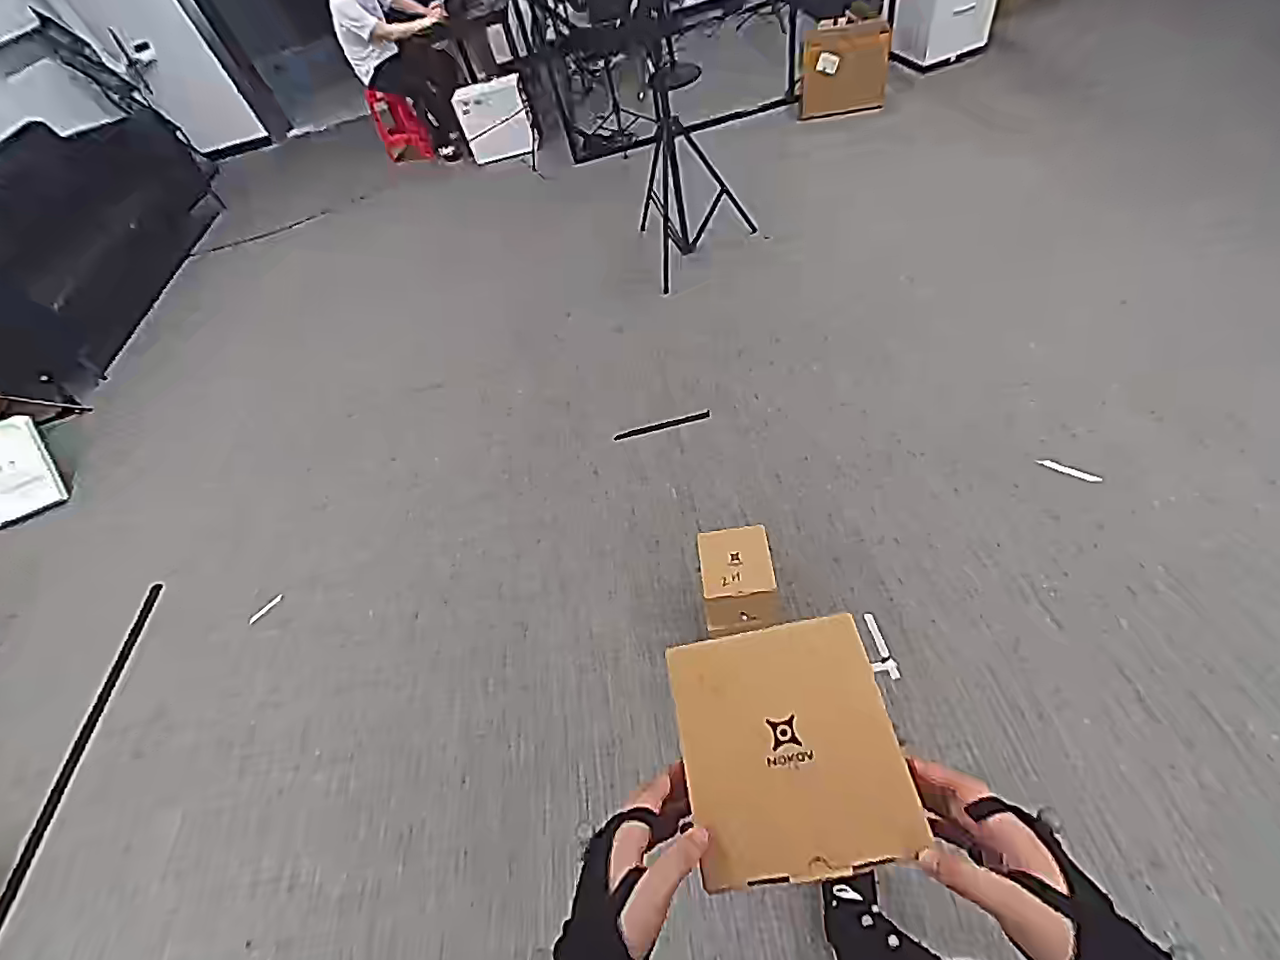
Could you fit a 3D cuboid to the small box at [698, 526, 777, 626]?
[{"bbox_3d":[0.238,0.237,1.322,0.168,0.176,0.179,-10,52,9],"label":"small box"}]
